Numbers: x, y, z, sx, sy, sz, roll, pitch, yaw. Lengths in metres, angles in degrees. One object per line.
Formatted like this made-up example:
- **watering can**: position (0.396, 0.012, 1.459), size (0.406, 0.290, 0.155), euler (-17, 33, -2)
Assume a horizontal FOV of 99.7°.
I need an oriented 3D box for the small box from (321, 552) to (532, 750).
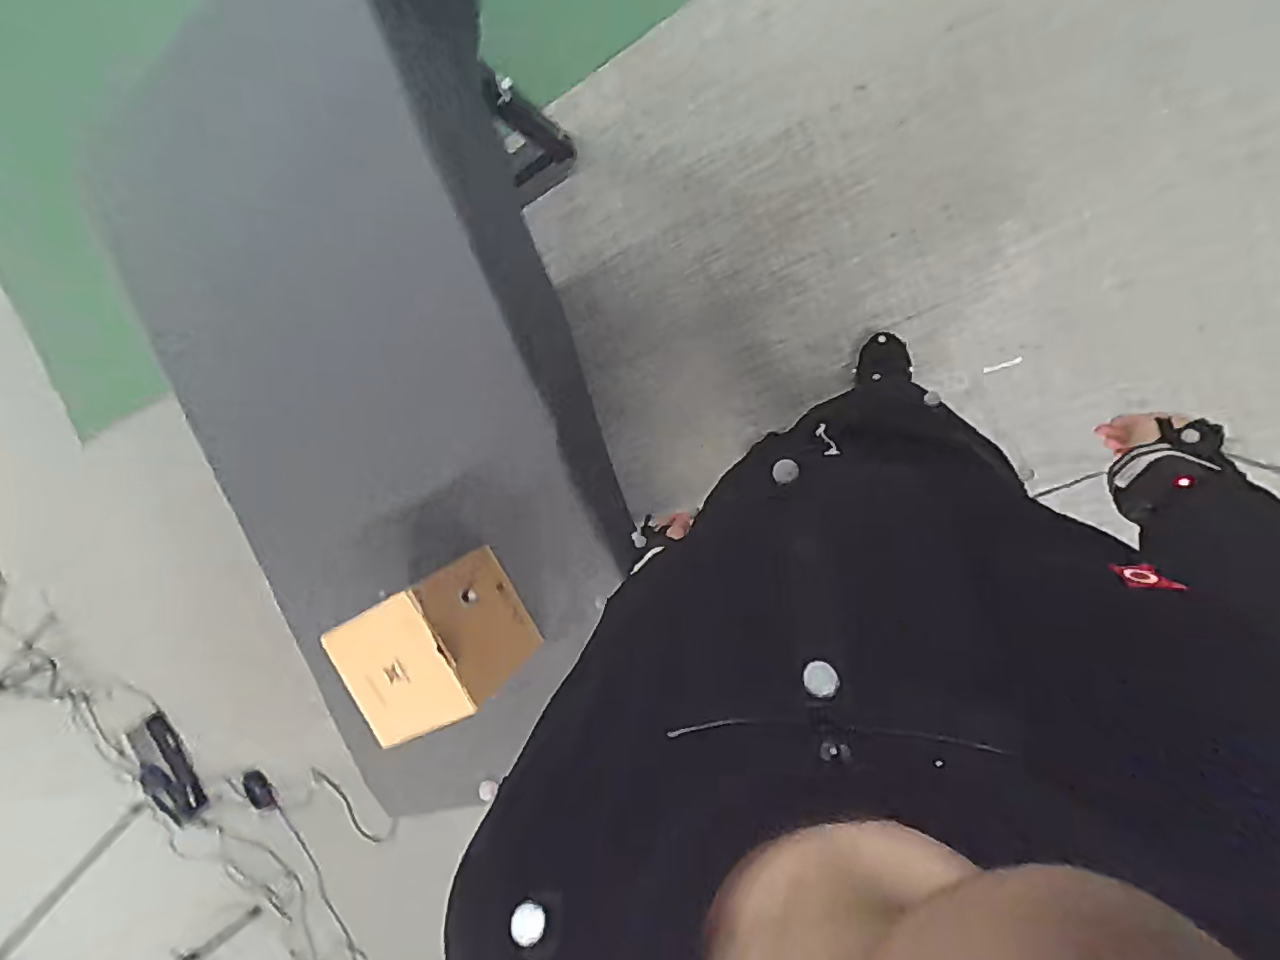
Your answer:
- **small box**: position (-0.270, 0.219, 0.727), size (0.179, 0.176, 0.168), euler (-29, 91, 23)
